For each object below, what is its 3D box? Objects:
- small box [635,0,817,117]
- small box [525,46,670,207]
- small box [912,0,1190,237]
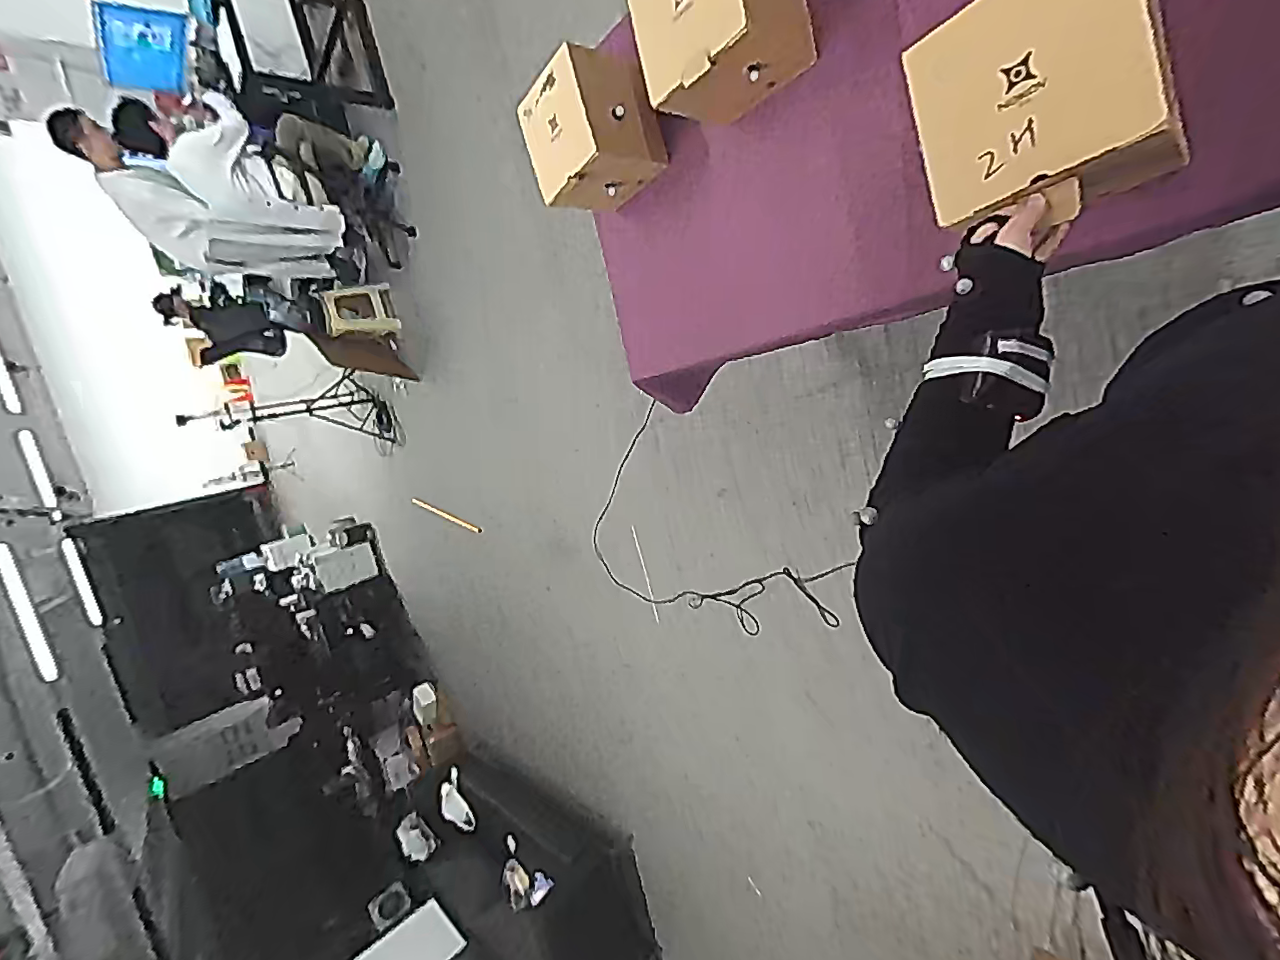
[{"bbox_3d":[0.118,-0.625,0.731,0.168,0.176,0.179,-4,102,49],"label":"small box"},{"bbox_3d":[-0.071,-0.606,0.954,0.168,0.176,0.179,-12,97,50],"label":"small box"},{"bbox_3d":[0.391,-0.356,0.516,0.168,0.176,0.179,-11,93,51],"label":"small box"}]
